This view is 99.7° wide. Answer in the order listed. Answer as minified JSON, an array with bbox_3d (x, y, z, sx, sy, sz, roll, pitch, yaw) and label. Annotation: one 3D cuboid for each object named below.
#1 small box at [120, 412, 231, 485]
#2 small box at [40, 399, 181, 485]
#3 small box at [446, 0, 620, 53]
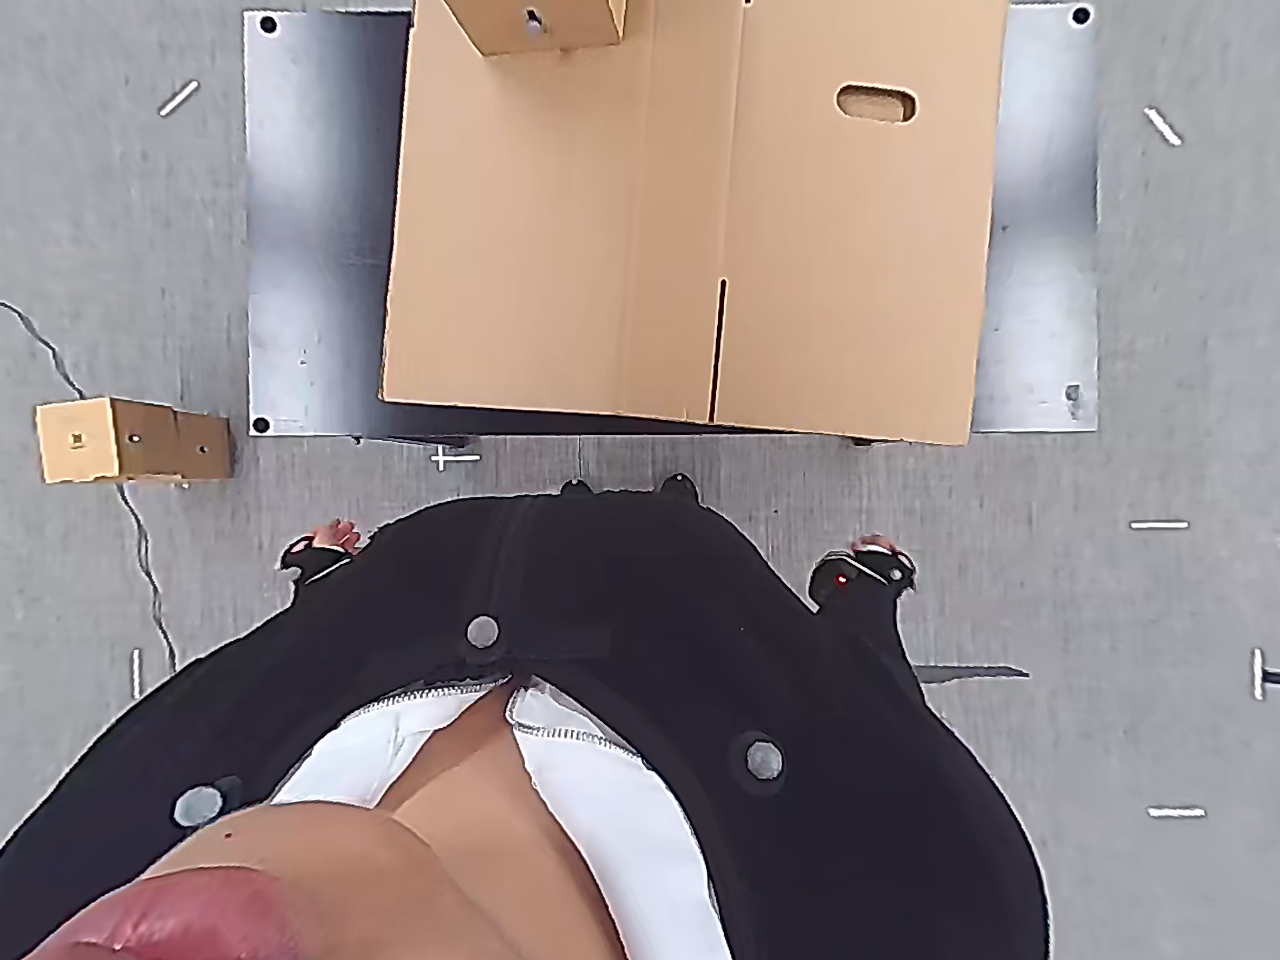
[{"bbox_3d":[-1.225,-0.079,1.428,0.168,0.176,0.179,-4,91,1],"label":"small box"},{"bbox_3d":[-1.226,-0.085,1.265,0.168,0.176,0.179,-7,90,0],"label":"small box"},{"bbox_3d":[-0.112,-0.568,0.533,0.179,0.176,0.168,6,90,13],"label":"small box"}]
